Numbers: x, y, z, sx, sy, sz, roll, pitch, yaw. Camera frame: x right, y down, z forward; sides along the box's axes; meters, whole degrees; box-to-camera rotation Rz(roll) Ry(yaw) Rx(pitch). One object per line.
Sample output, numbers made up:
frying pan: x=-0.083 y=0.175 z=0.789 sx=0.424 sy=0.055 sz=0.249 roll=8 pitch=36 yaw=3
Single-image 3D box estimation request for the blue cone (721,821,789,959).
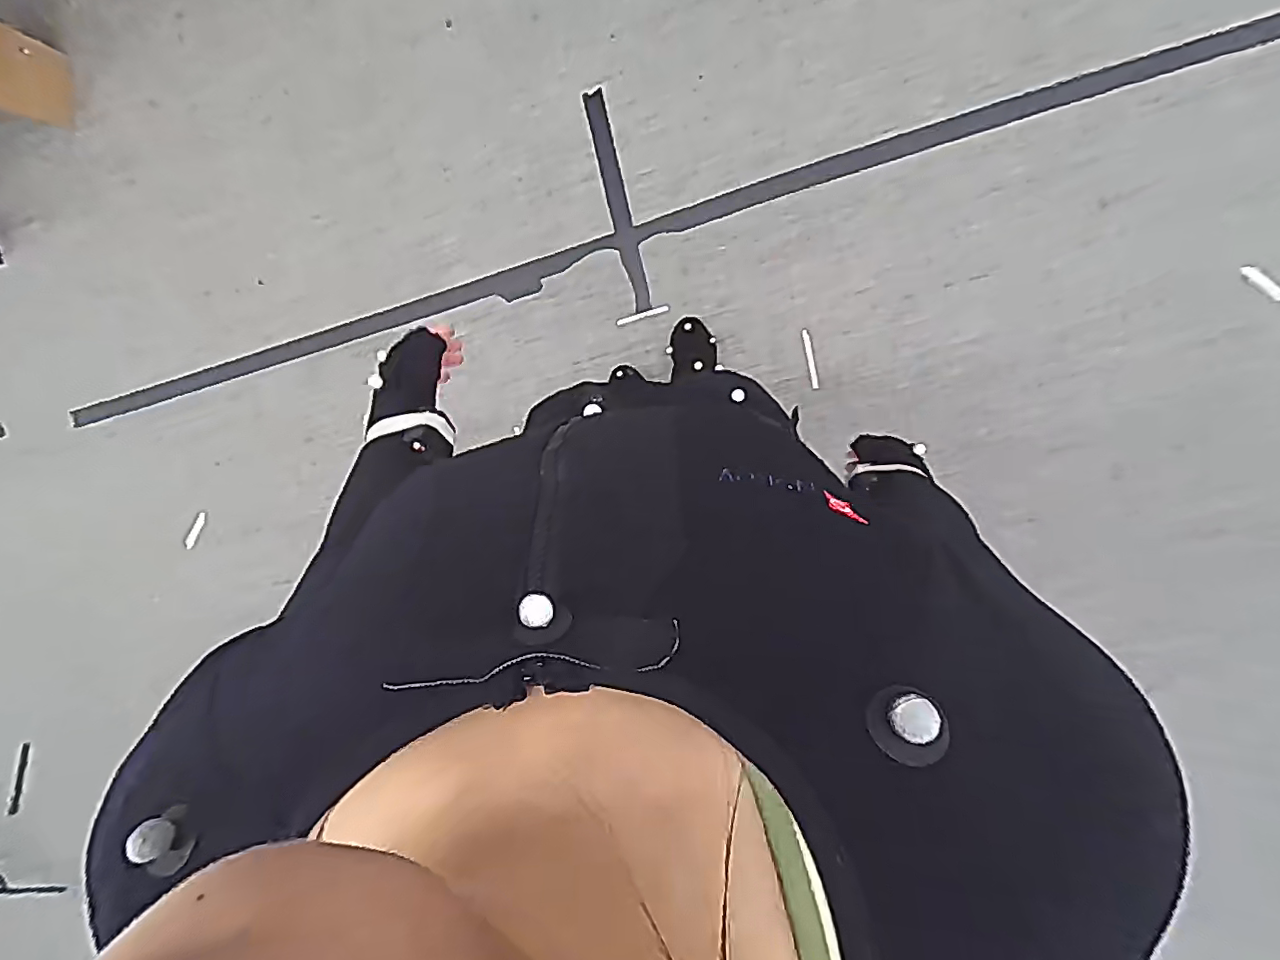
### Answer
blue cone: x=0.340 y=1.175 z=1.510 sx=0.193 sy=0.380 sz=0.192 roll=-10 pitch=102 yaw=9
